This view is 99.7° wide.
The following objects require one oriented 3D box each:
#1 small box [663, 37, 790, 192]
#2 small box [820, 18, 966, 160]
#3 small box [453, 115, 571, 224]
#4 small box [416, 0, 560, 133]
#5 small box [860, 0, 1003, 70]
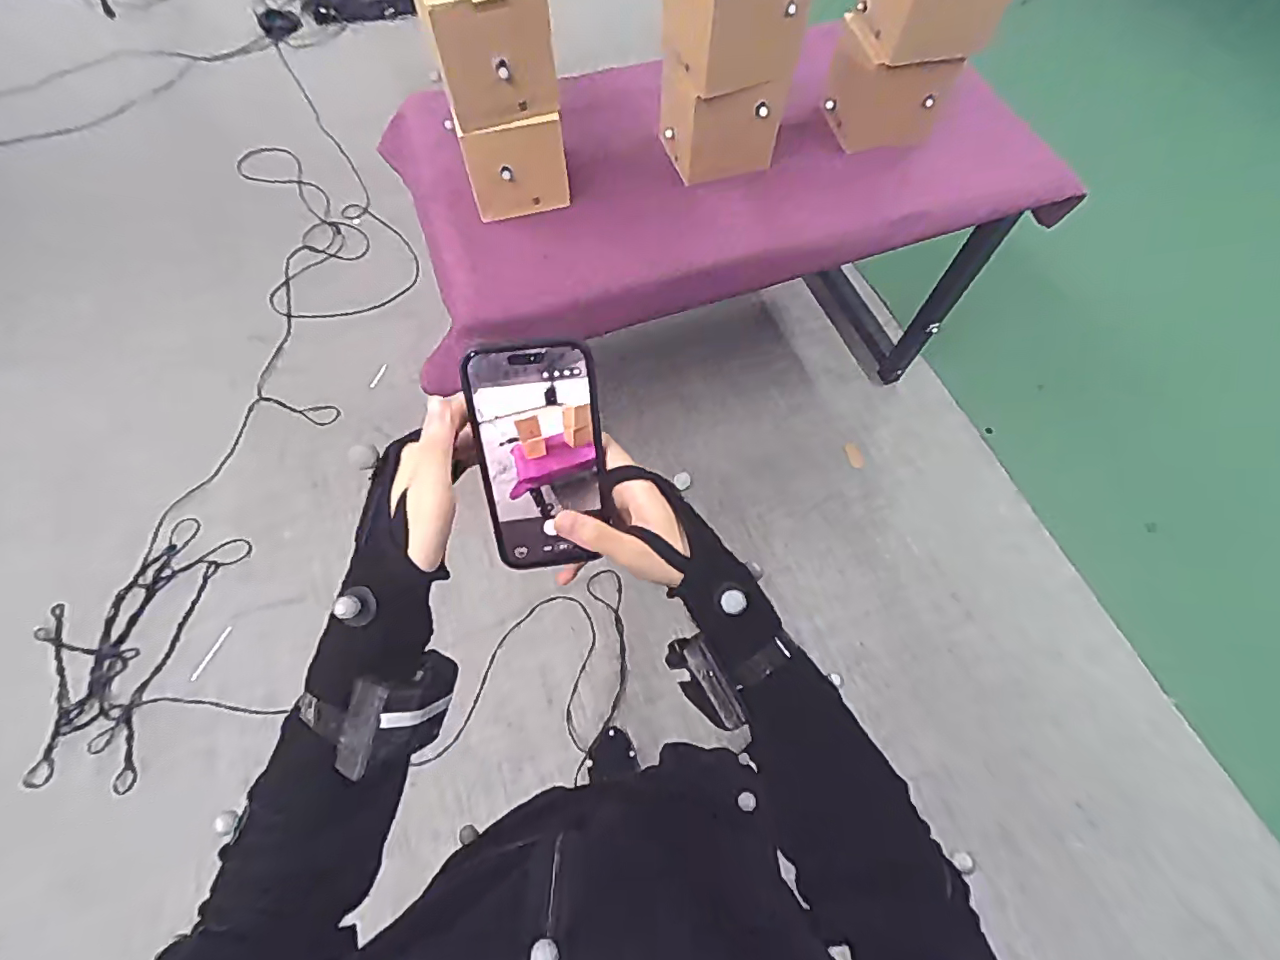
[{"bbox_3d":[0.150,-0.679,1.013,0.179,0.176,0.168,-16,66,-7],"label":"small box"},{"bbox_3d":[0.479,-0.760,1.052,0.179,0.176,0.168,-11,65,-4],"label":"small box"},{"bbox_3d":[-0.228,-0.588,0.973,0.168,0.176,0.179,-16,66,-7],"label":"small box"},{"bbox_3d":[-0.231,-0.665,0.828,0.168,0.176,0.179,-20,67,-10],"label":"small box"},{"bbox_3d":[0.491,-0.819,0.899,0.179,0.176,0.168,-11,65,-5],"label":"small box"}]
